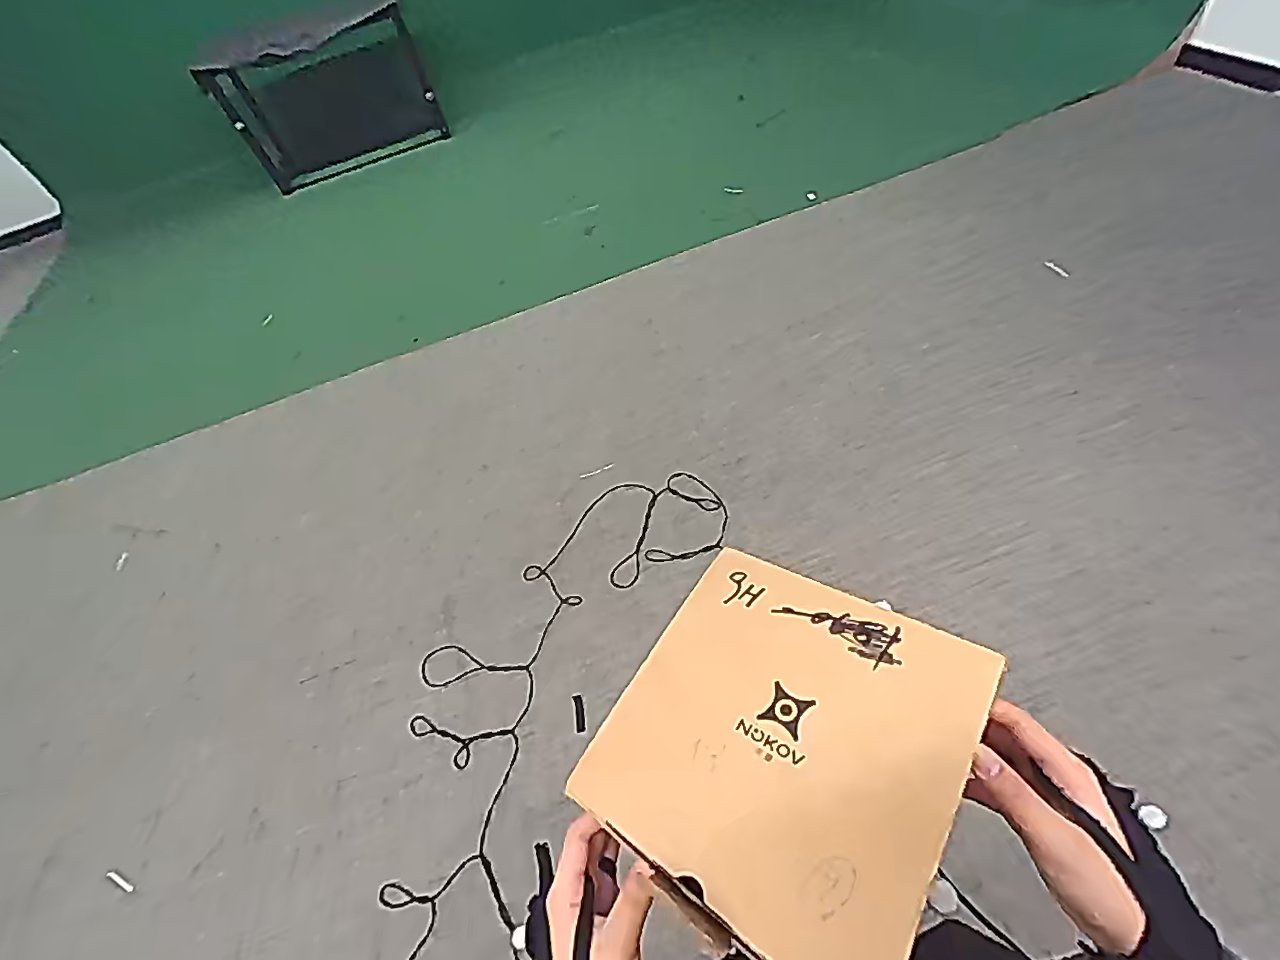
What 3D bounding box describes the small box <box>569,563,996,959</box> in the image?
[{"bbox_3d":[0.094,0.190,0.337,0.168,0.176,0.179,19,58,35],"label":"small box"}]
